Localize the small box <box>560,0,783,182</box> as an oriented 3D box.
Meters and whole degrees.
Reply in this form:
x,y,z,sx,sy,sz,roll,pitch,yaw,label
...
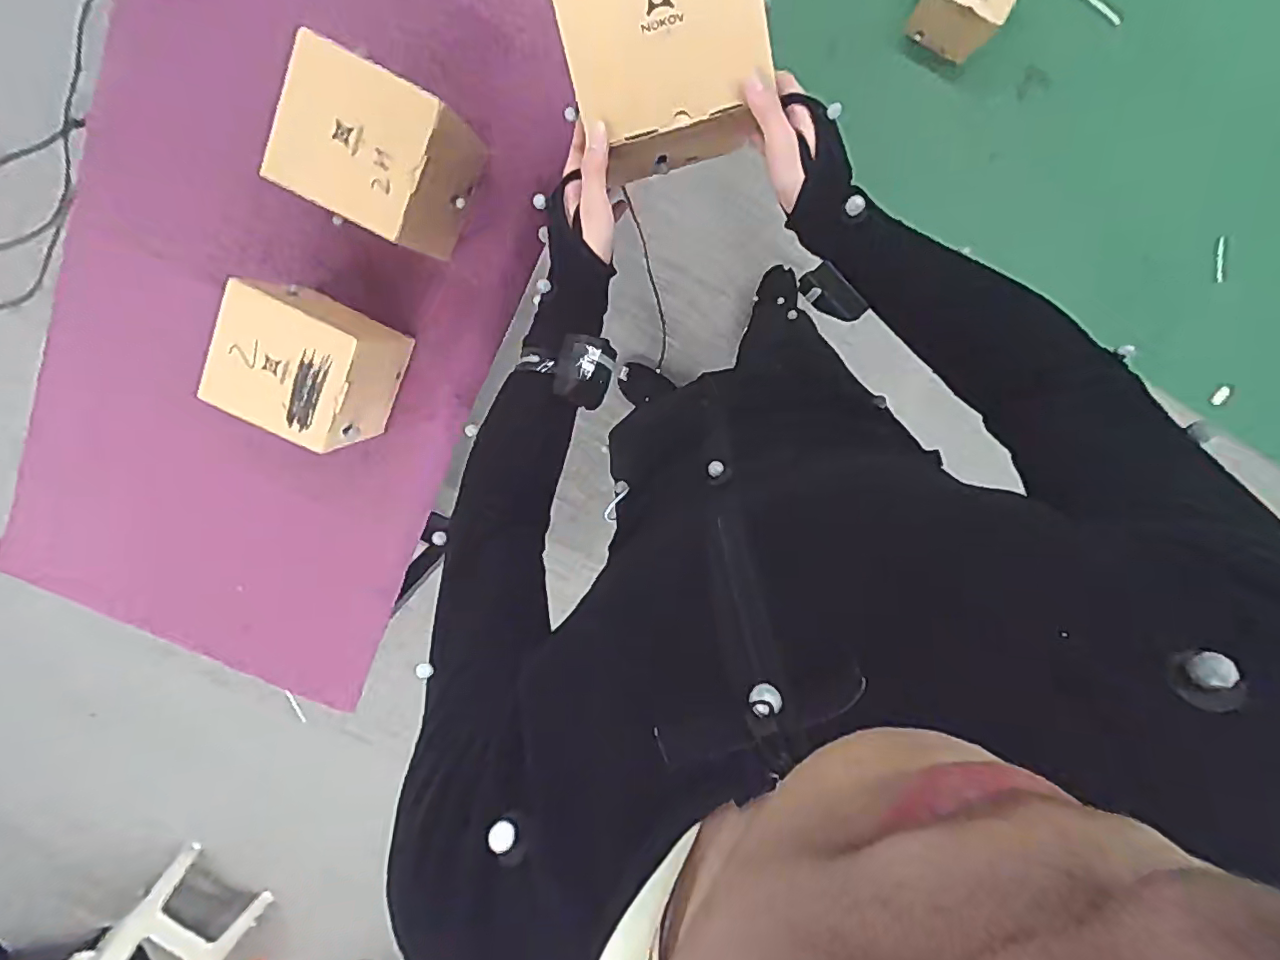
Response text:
x,y,z,sx,sy,sz,roll,pitch,yaw,label
0.020,-0.408,0.506,0.168,0.176,0.179,-14,110,4,small box

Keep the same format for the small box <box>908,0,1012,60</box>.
x,y,z,sx,sy,sz,roll,pitch,yaw,label
0.754,-1.127,1.245,0.168,0.176,0.179,25,103,-5,small box

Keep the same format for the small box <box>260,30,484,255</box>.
x,y,z,sx,sy,sz,roll,pitch,yaw,label
-0.331,-0.411,0.699,0.179,0.176,0.168,26,104,-5,small box
